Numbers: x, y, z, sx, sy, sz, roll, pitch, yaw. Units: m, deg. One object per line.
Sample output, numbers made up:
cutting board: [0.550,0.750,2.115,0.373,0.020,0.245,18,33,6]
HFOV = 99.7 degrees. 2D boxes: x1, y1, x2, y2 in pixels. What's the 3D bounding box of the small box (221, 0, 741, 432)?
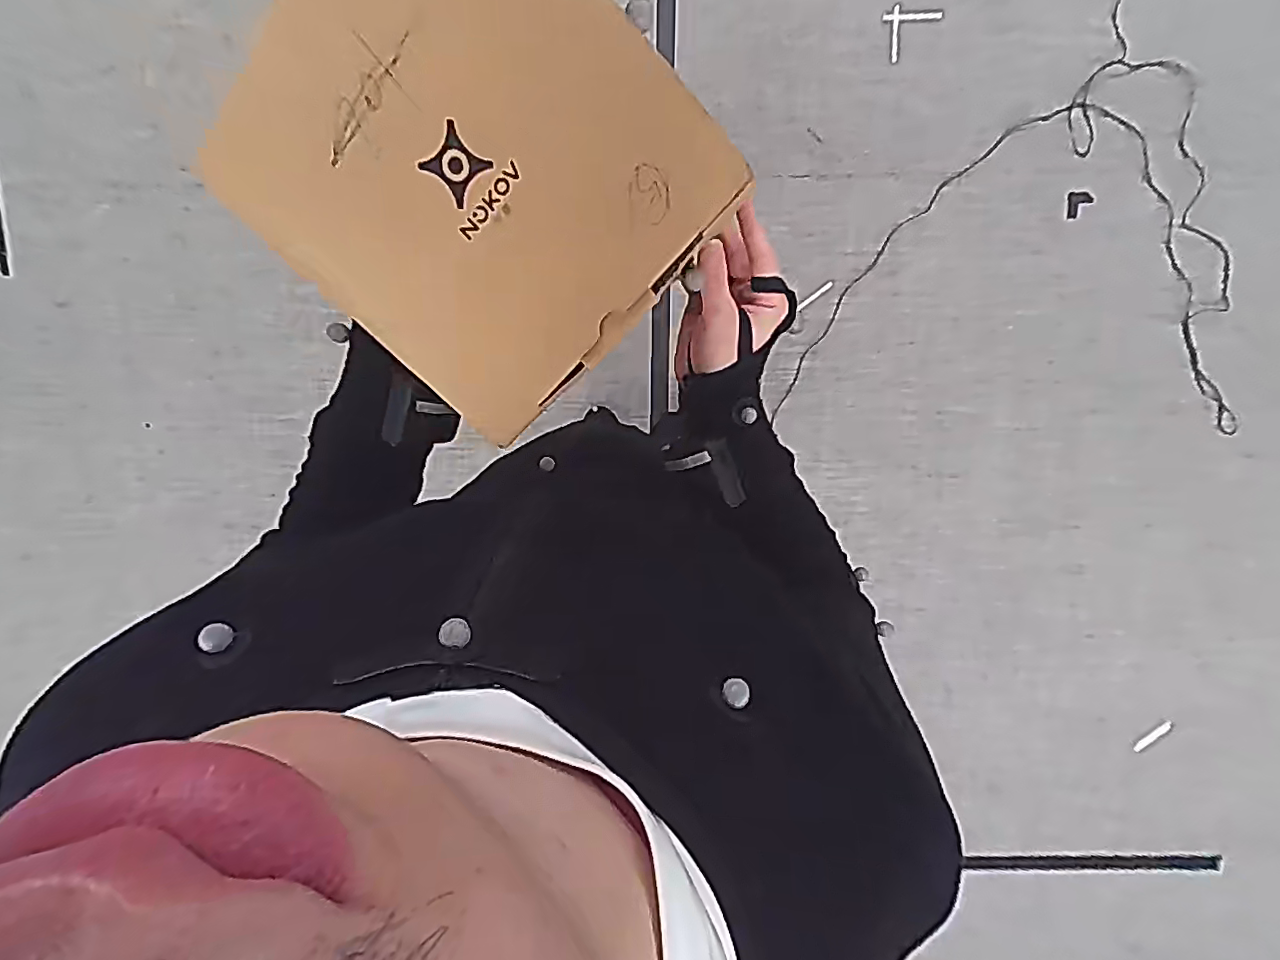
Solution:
small box: [-0.064,-0.161,0.307,0.179,0.176,0.168,44,109,-10]
